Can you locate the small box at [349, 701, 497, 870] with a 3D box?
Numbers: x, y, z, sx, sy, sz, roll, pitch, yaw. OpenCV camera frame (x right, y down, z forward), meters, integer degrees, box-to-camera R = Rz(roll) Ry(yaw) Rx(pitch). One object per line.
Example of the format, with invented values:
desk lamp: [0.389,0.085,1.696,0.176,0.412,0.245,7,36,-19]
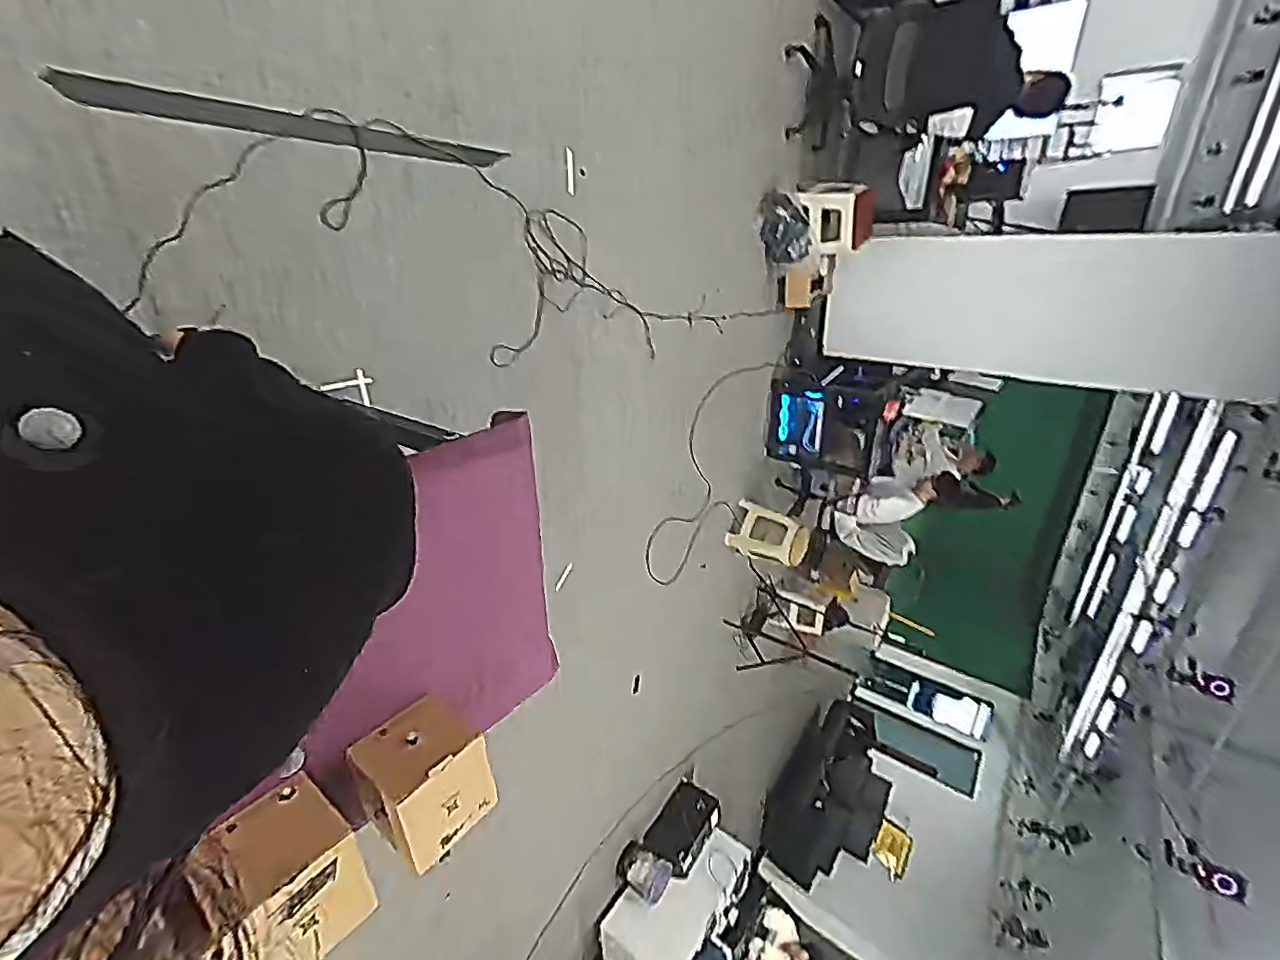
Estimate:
small box: [-0.382,0.521,0.956,0.168,0.176,0.179,-29,124,-46]
